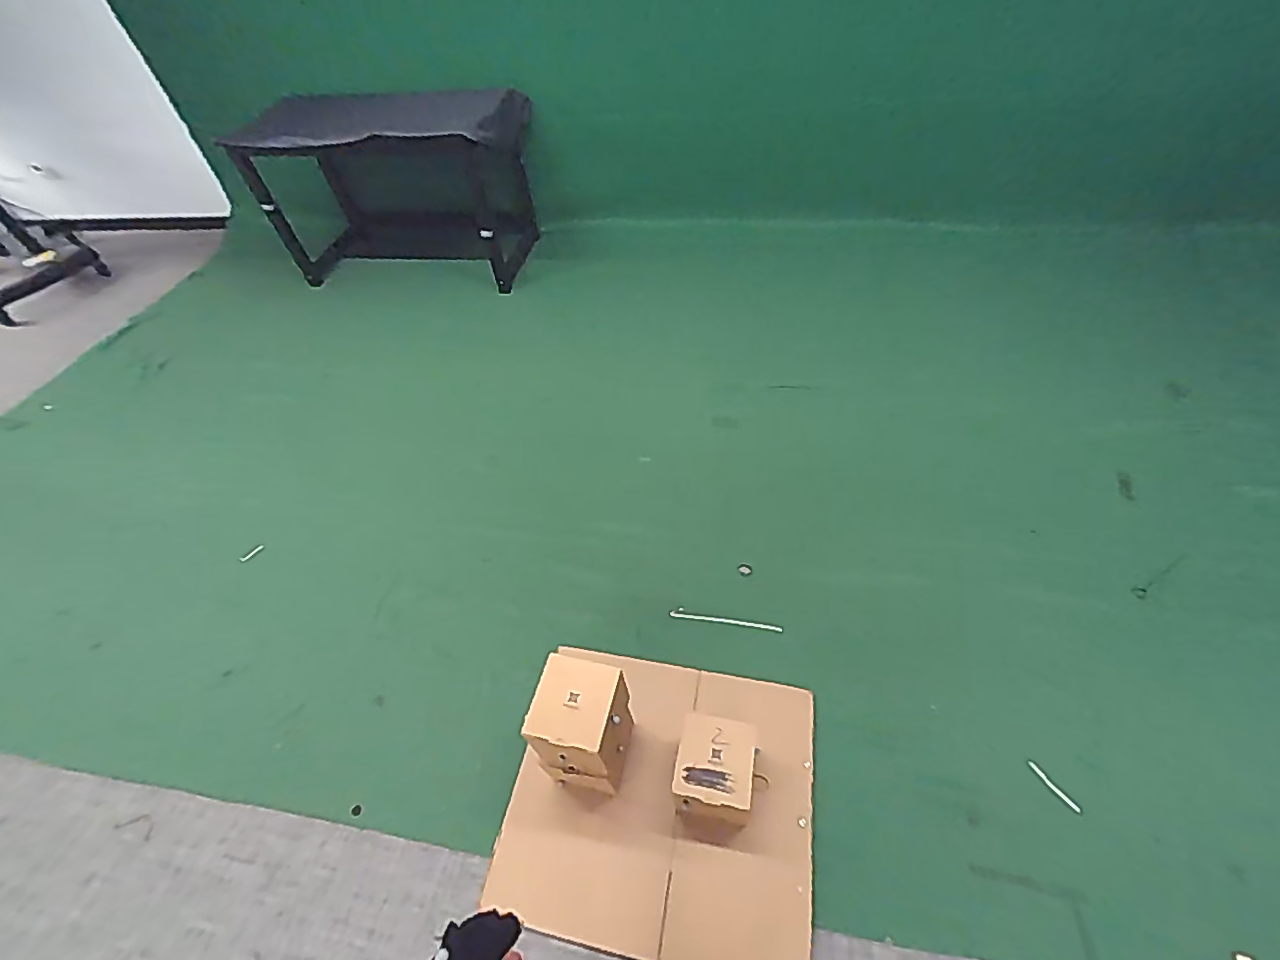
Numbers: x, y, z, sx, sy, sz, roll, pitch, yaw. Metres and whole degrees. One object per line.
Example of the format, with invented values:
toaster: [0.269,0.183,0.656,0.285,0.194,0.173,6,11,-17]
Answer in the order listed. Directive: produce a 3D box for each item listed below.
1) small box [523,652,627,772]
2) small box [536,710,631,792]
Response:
small box: [-0.130,0.502,1.169,0.168,0.176,0.179,8,51,13]
small box: [-0.124,0.617,1.285,0.168,0.176,0.179,7,50,13]
